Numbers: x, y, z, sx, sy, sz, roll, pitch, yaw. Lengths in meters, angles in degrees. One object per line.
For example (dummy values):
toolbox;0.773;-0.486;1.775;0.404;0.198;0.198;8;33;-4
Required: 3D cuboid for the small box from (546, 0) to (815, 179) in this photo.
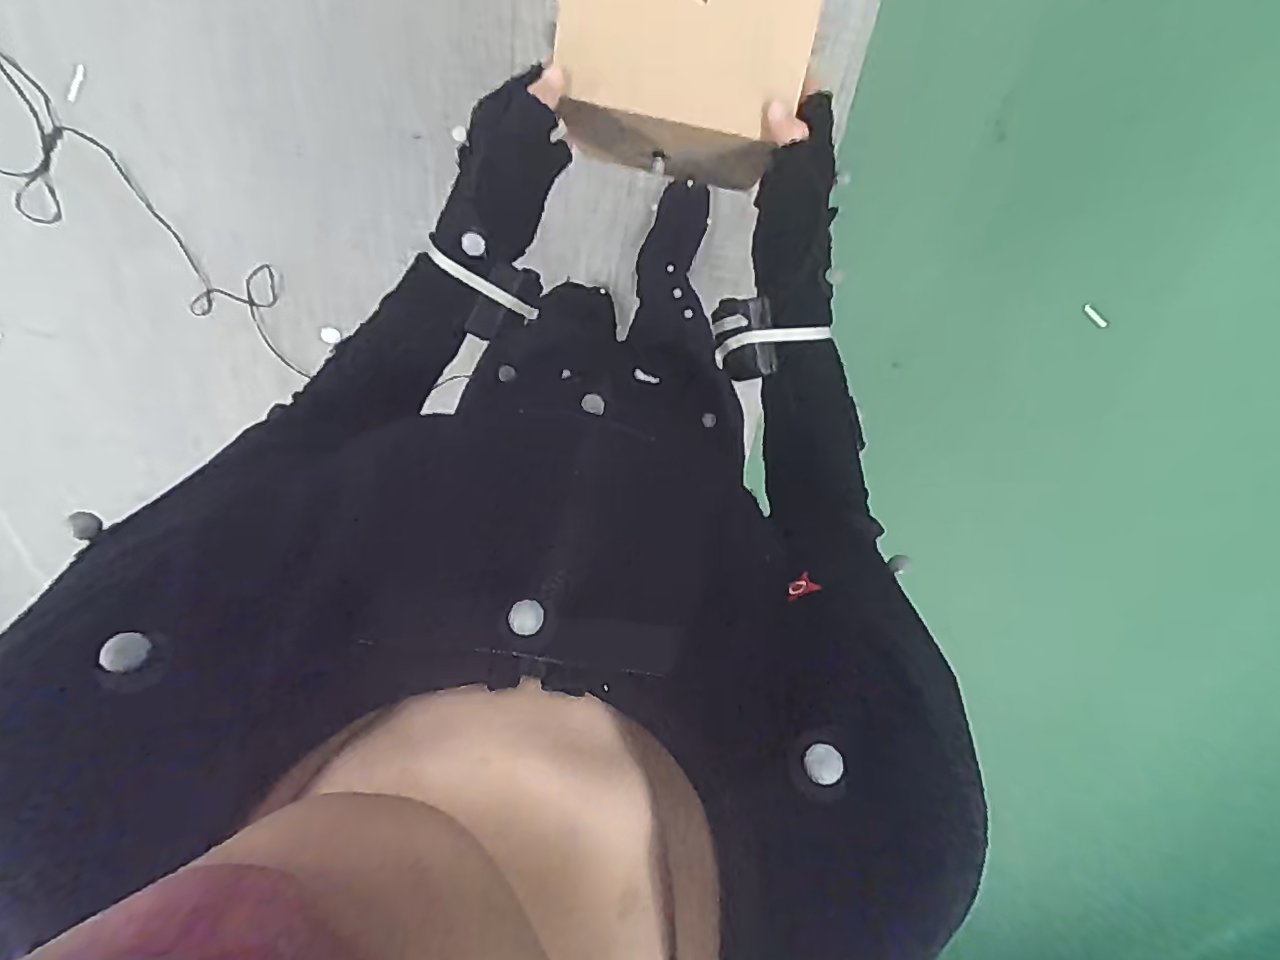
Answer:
small box;0.035;-0.352;0.410;0.168;0.176;0.179;11;107;-3
